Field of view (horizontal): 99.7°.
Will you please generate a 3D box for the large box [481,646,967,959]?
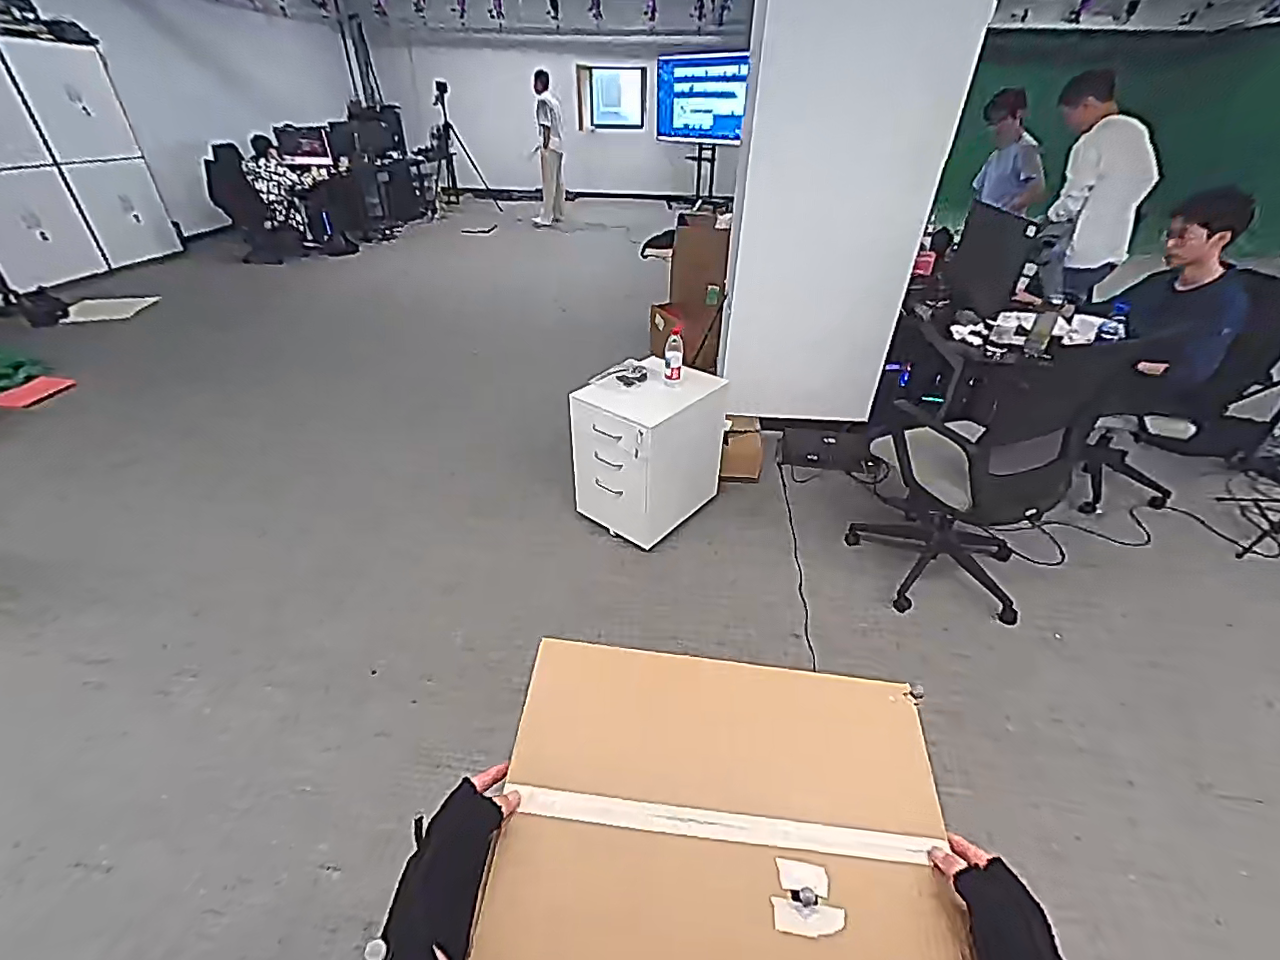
[{"bbox_3d":[0.071,0.419,0.610,0.408,0.320,0.320,7,48,2],"label":"large box"}]
